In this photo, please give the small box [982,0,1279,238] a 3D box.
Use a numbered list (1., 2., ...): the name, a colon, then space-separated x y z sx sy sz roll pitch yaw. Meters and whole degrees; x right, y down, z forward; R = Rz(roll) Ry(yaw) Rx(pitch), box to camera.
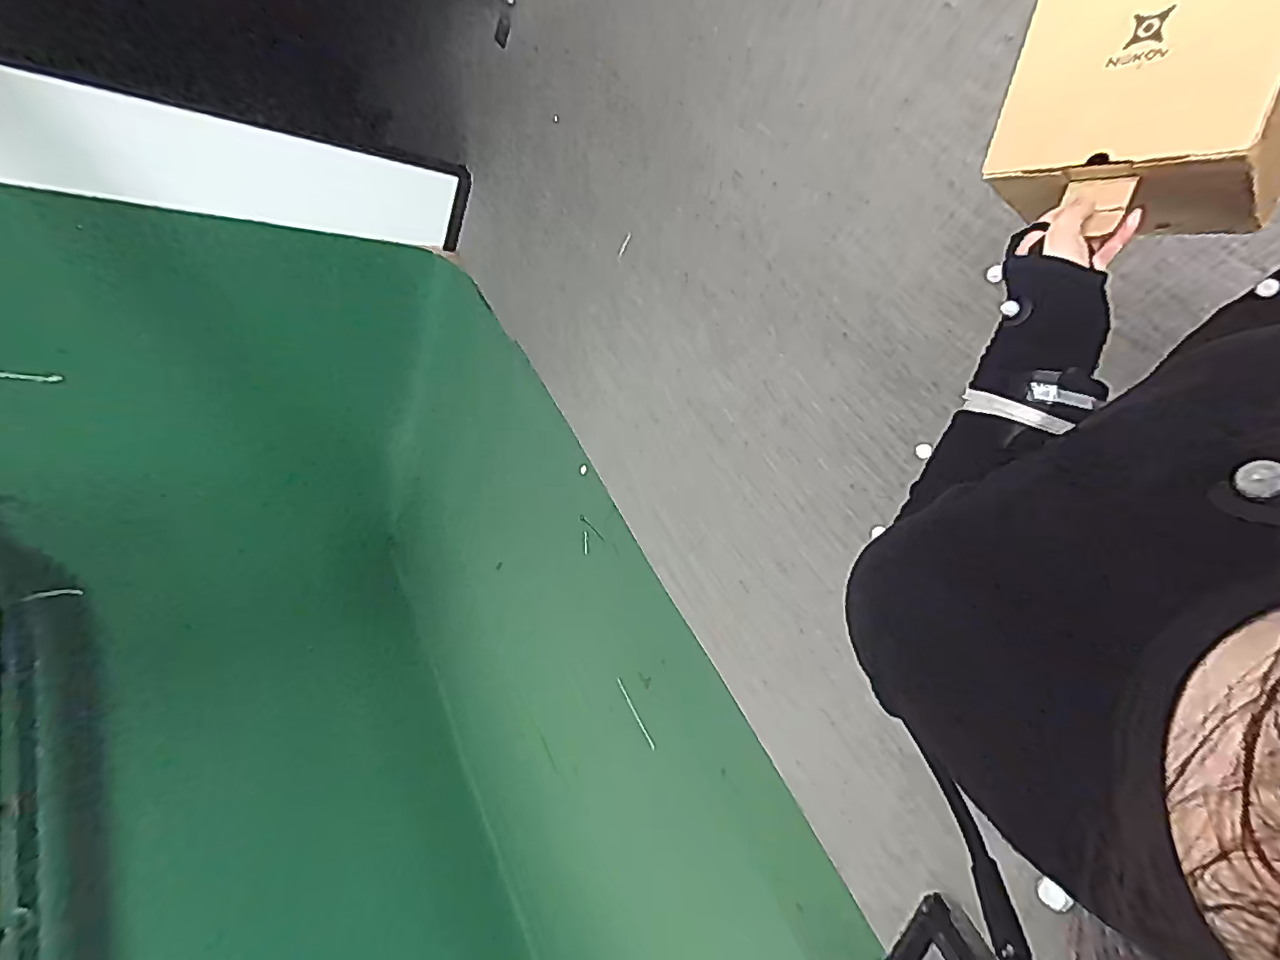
1. small box: 0.424 -0.317 0.444 0.168 0.176 0.179 27 110 46
